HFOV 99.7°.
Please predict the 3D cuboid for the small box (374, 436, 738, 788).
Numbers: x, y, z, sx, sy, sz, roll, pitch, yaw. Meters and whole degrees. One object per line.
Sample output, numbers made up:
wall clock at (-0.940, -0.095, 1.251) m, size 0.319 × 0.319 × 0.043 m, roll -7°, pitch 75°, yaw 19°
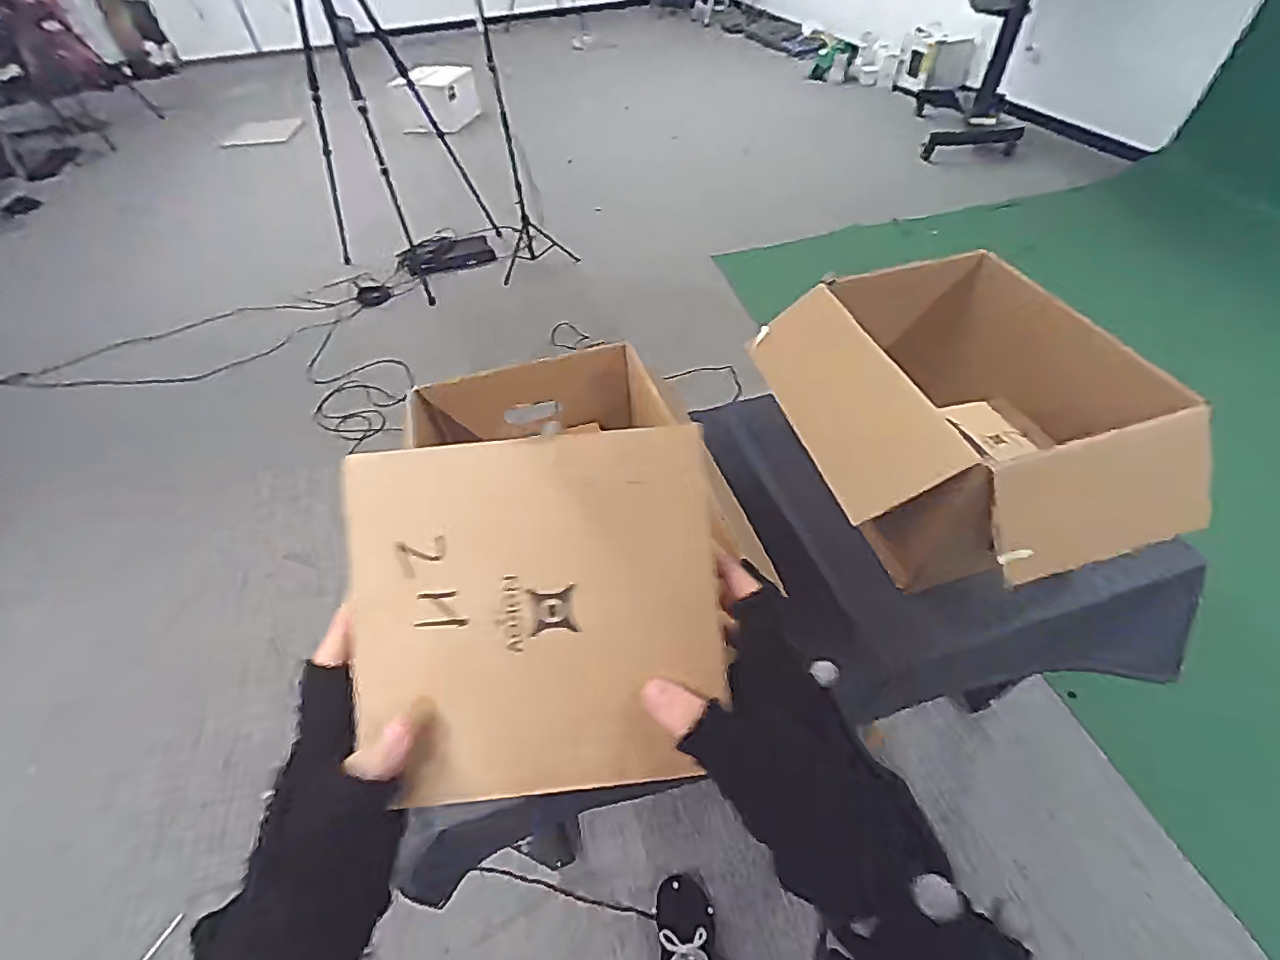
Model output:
small box at (-0.045, 0.069, 0.347) m, size 0.179 × 0.176 × 0.168 m, roll -4°, pitch 84°, yaw -2°
